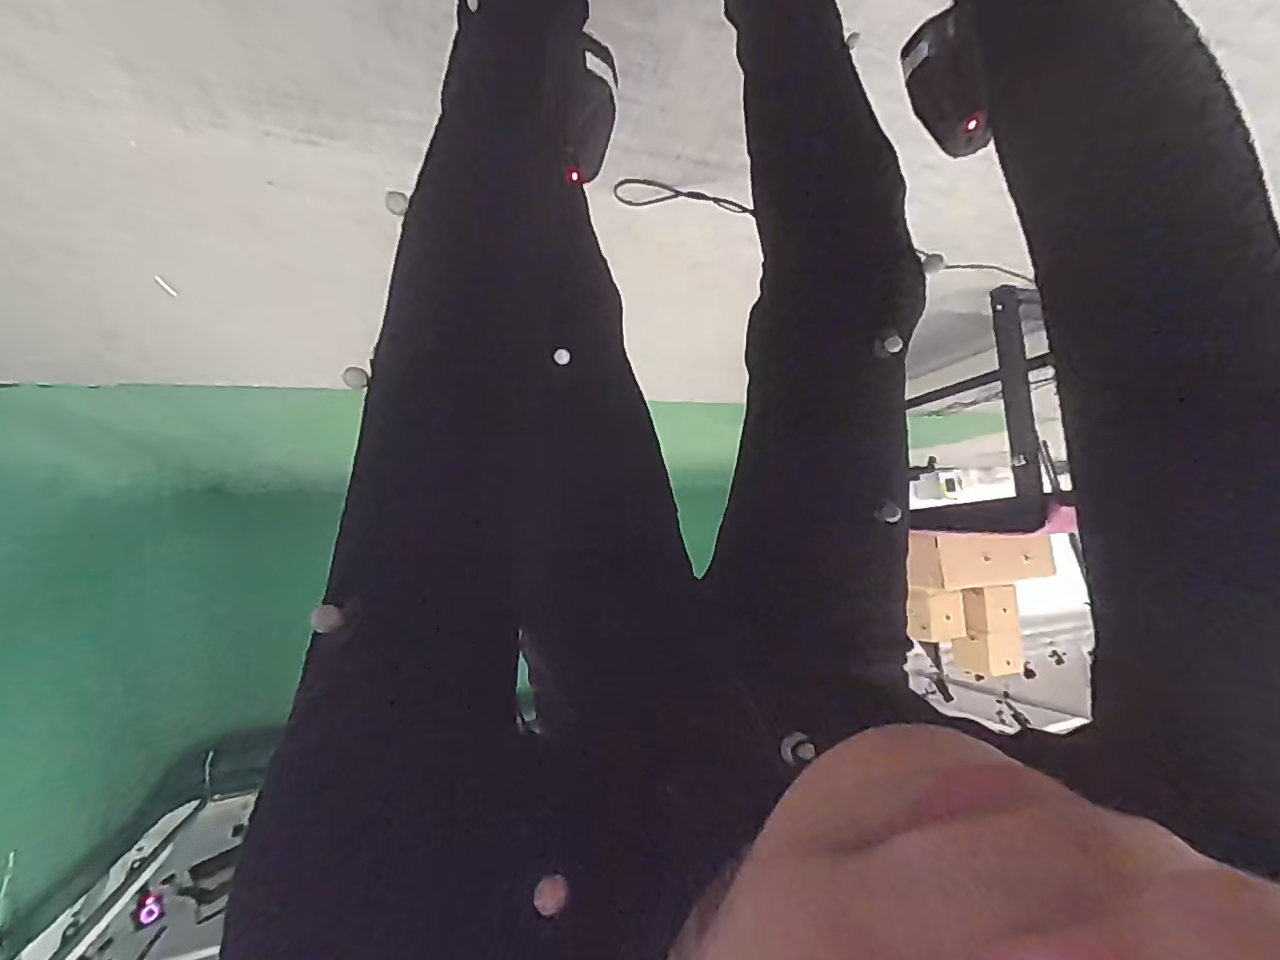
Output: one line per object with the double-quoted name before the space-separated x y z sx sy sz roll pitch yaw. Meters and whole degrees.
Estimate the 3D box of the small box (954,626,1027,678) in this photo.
"small box" 1.355 0.652 2.093 0.179 0.176 0.168 1 173 -19

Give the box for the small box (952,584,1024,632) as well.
"small box" 1.351 0.490 2.109 0.179 0.176 0.168 0 174 -19

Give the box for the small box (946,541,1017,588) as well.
"small box" 1.338 0.326 2.124 0.179 0.176 0.168 1 173 -19
